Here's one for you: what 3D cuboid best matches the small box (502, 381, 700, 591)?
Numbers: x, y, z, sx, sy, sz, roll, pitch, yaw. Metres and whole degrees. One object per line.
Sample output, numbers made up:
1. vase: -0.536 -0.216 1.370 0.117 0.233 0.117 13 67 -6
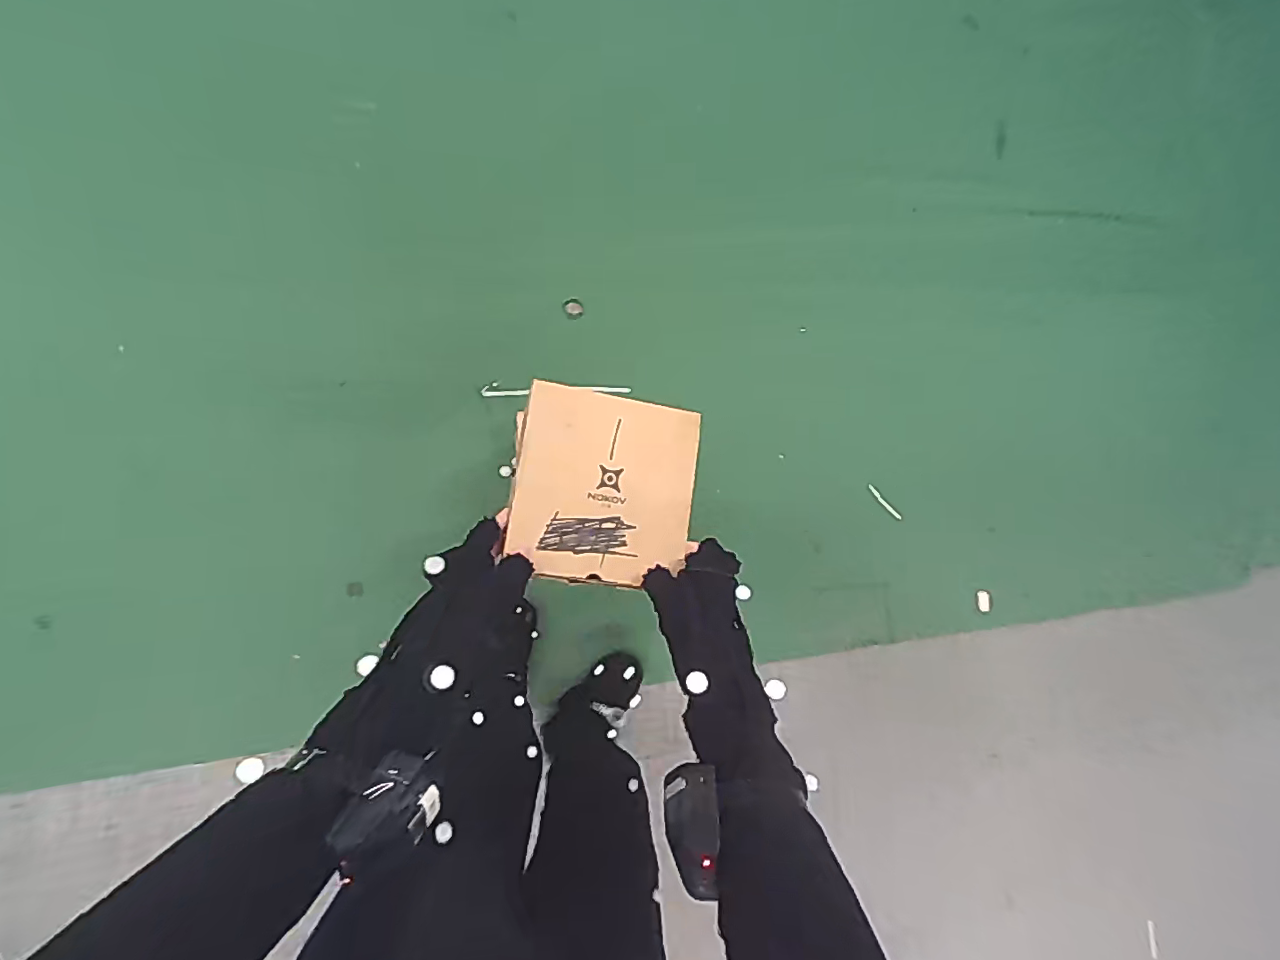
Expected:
1. small box: -0.050 0.016 0.575 0.168 0.176 0.179 9 81 -14
